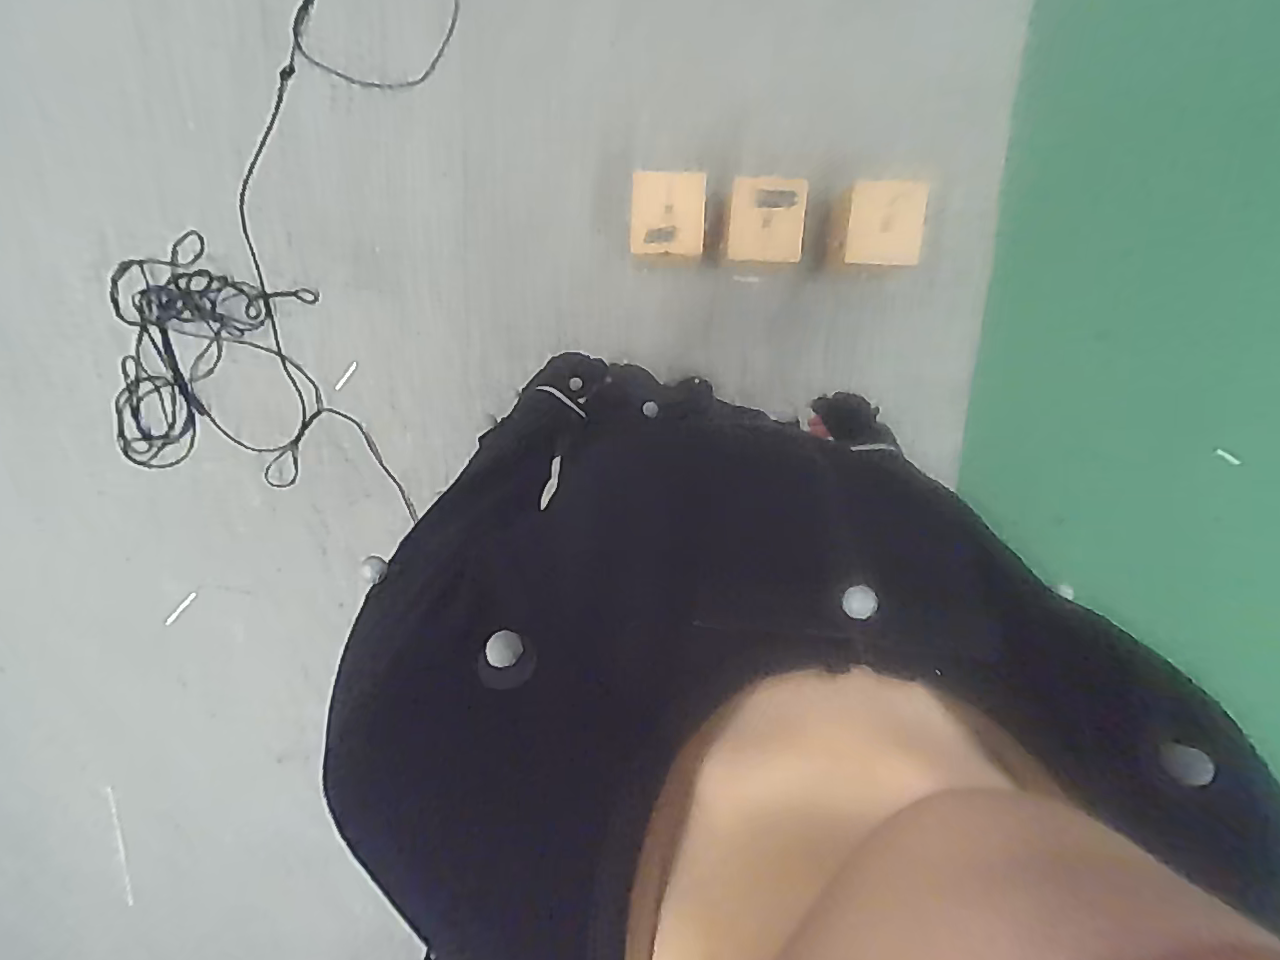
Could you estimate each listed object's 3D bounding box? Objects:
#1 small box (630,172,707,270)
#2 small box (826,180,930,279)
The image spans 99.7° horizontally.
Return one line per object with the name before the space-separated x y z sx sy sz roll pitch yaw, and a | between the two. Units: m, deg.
small box | 0.067 -0.603 1.278 0.168 0.176 0.179 2 100 3
small box | 0.547 -0.577 1.268 0.168 0.176 0.179 3 101 1
